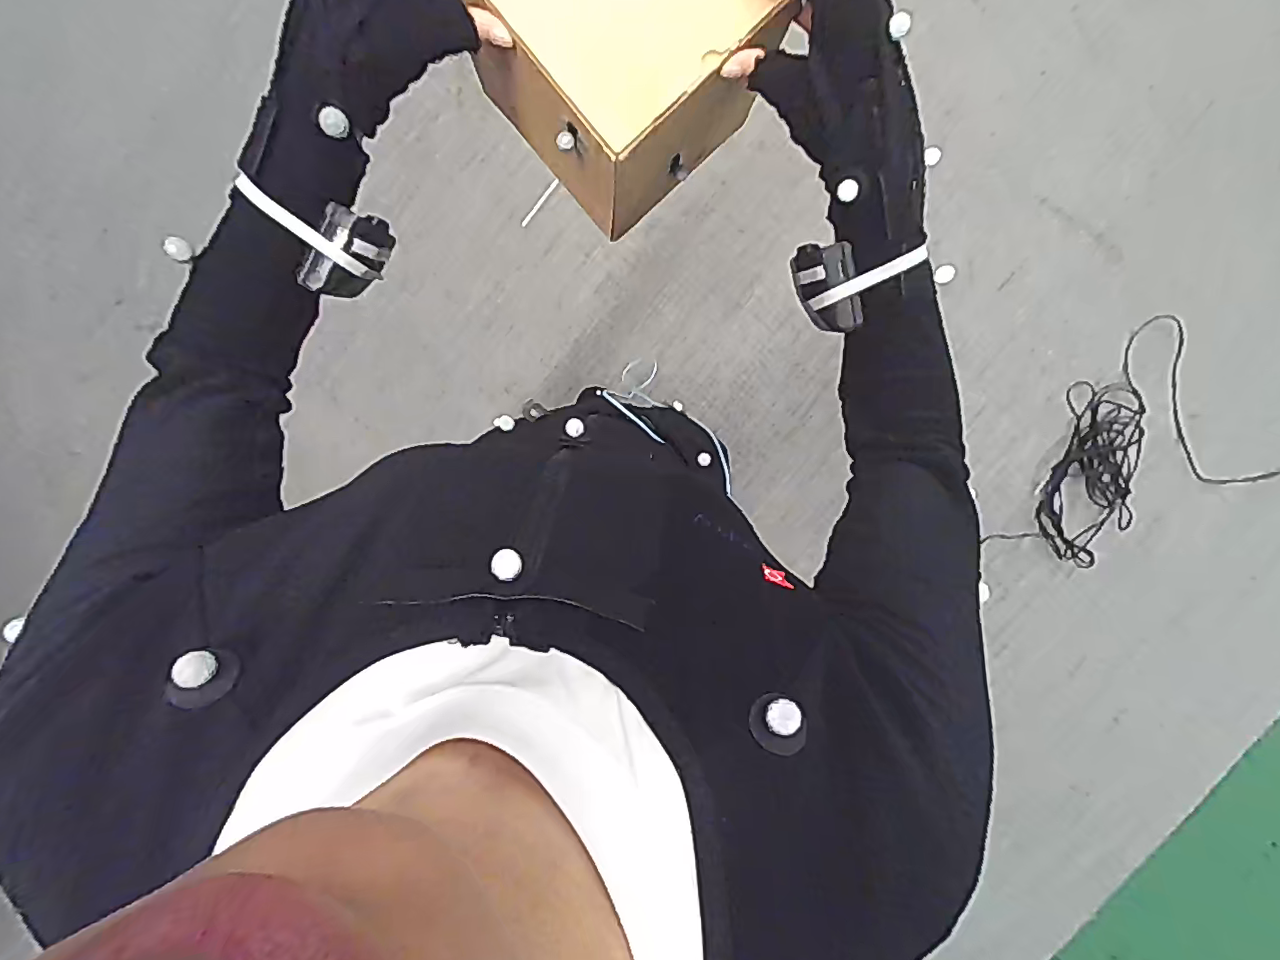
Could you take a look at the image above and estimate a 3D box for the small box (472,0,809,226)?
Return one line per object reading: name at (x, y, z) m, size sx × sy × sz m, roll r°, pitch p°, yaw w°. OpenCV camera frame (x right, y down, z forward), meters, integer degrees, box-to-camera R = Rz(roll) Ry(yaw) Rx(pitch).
small box at (-0.014, -0.334, 0.412) m, size 0.168 × 0.176 × 0.179 m, roll -41°, pitch 100°, yaw 1°
